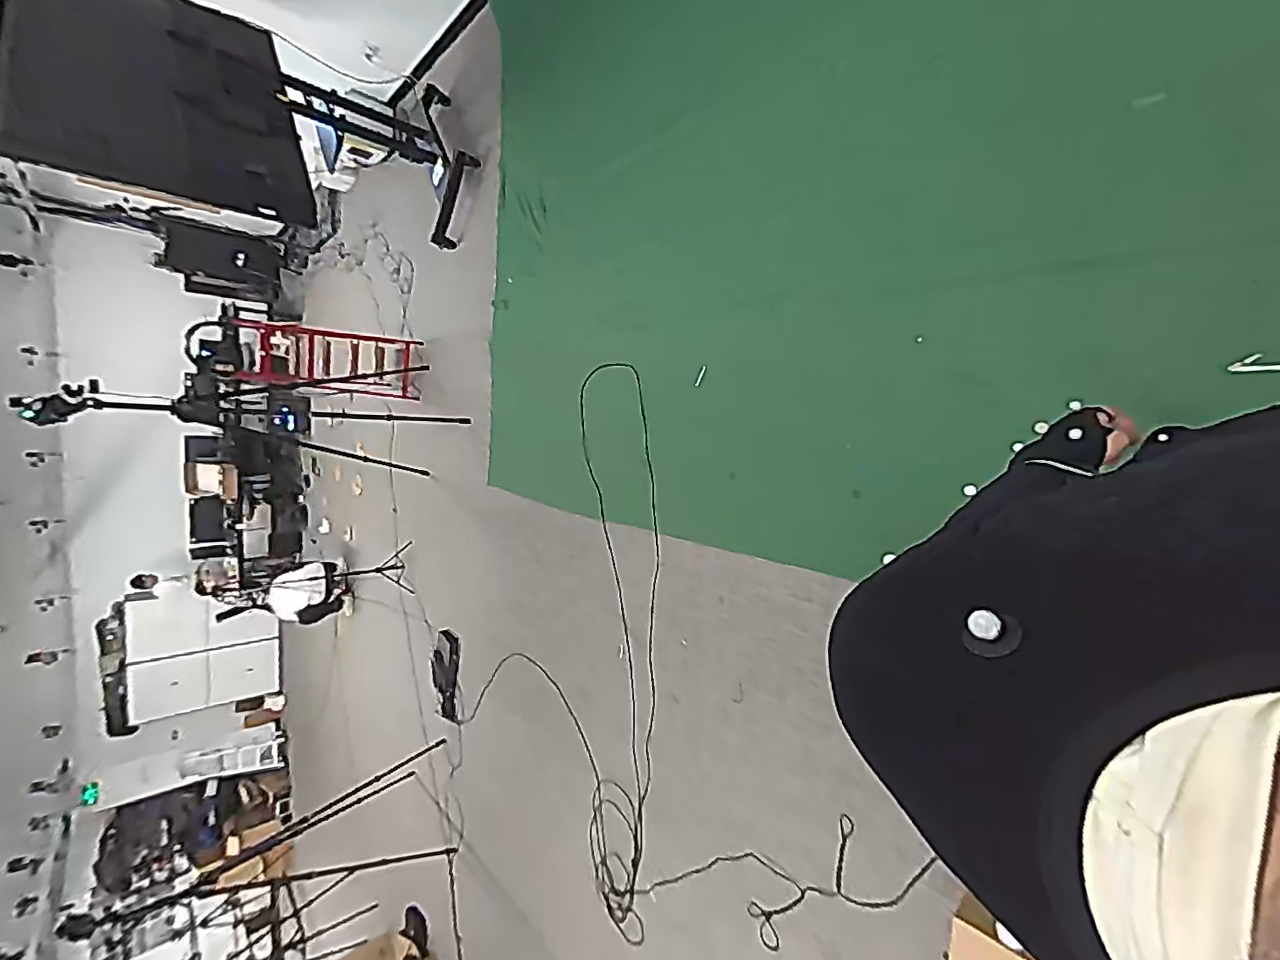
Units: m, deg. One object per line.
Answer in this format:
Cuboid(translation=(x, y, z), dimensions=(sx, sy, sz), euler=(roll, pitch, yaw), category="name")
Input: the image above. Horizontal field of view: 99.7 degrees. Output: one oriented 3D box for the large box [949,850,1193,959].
Cuboid(translation=(0.975, 1.171, 1.248), dimensions=(0.408, 0.320, 0.320), euler=(8, 97, 46), category="large box")
